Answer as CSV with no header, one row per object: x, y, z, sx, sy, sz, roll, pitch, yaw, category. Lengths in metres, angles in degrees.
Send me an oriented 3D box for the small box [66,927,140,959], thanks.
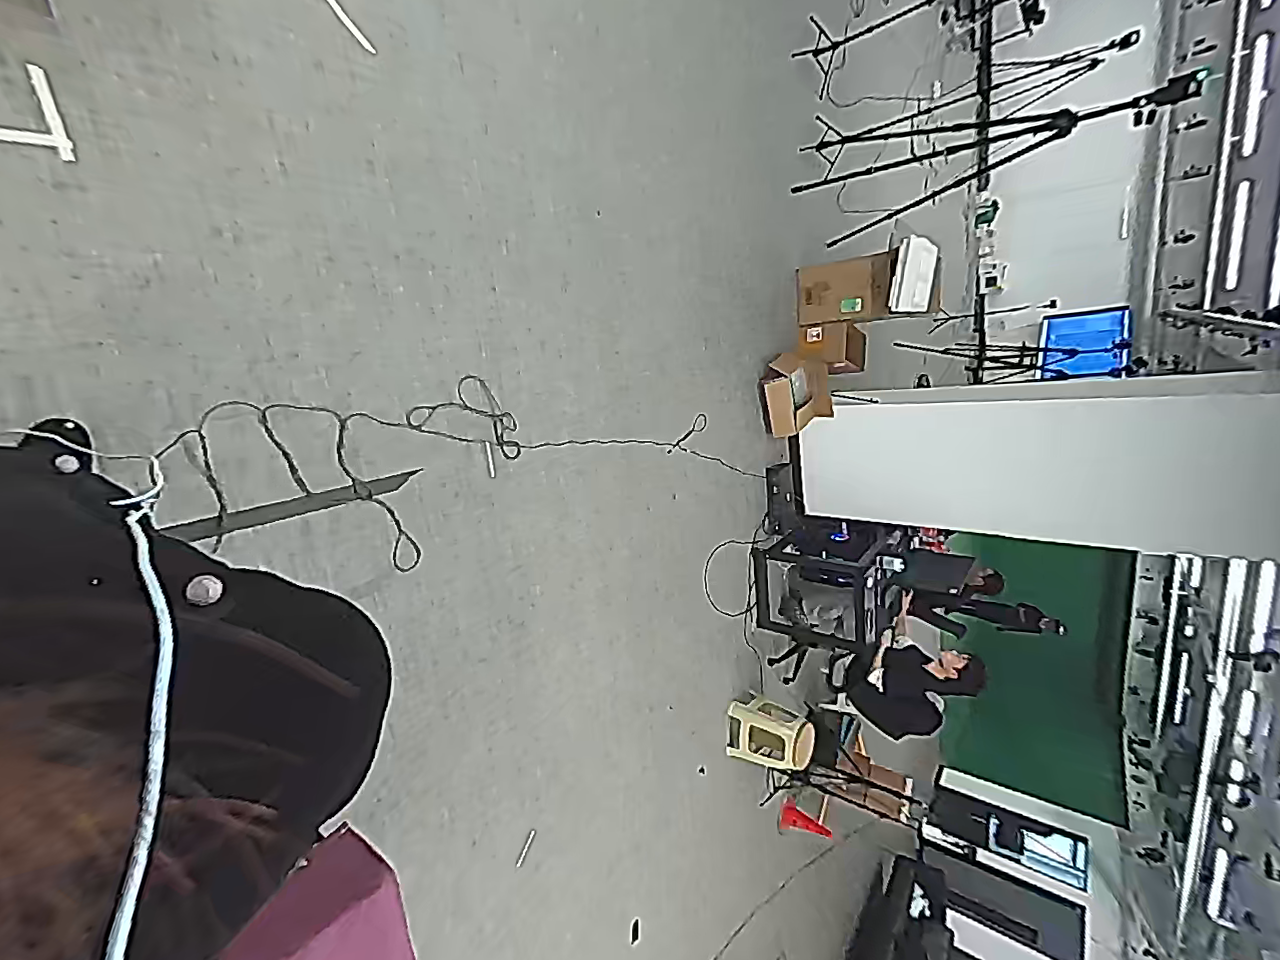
-1.114,1.071,1.084,0.179,0.176,0.168,-24,111,-47,small box
